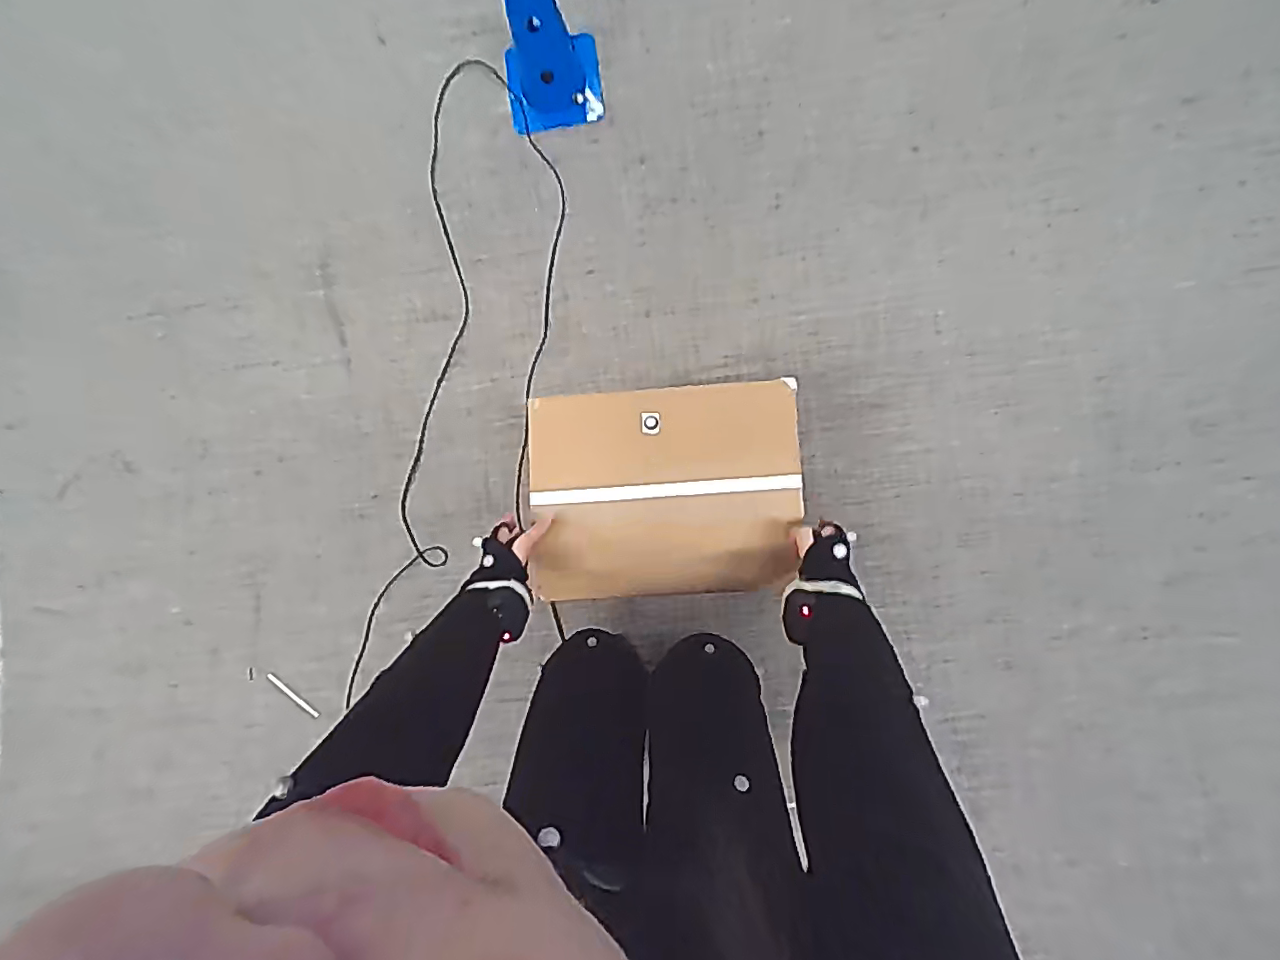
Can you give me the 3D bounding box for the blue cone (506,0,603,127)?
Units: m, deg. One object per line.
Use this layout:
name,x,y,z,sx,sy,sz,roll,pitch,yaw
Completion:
blue cone,-0.191,-0.857,0.975,0.193,0.380,0.192,-10,87,2
